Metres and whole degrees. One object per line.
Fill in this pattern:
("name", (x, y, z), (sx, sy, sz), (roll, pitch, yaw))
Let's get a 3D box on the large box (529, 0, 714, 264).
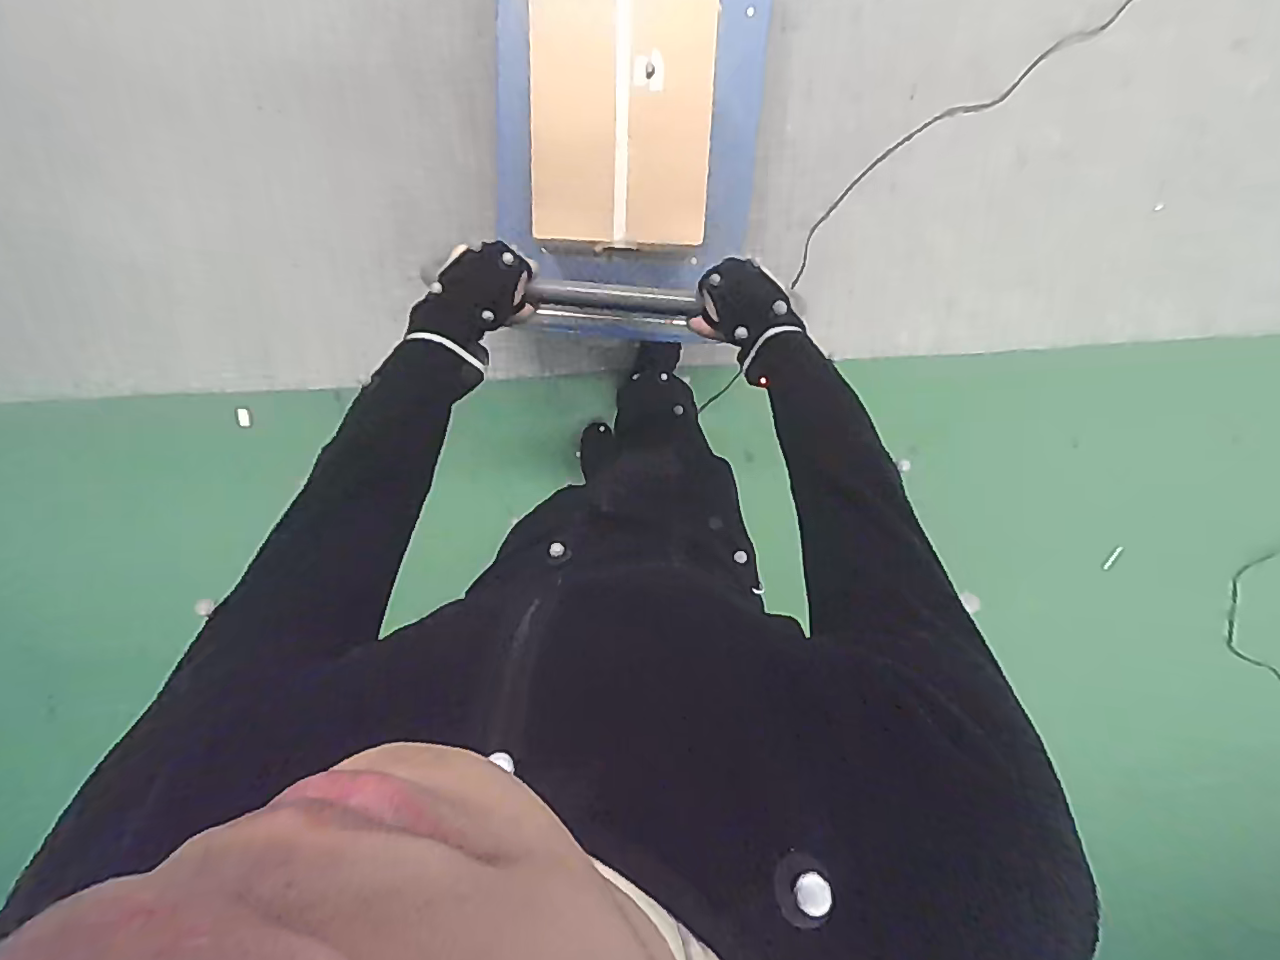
("large box", (-0.036, -0.665, 1.088), (0.320, 0.320, 0.408), (2, 106, -2))
